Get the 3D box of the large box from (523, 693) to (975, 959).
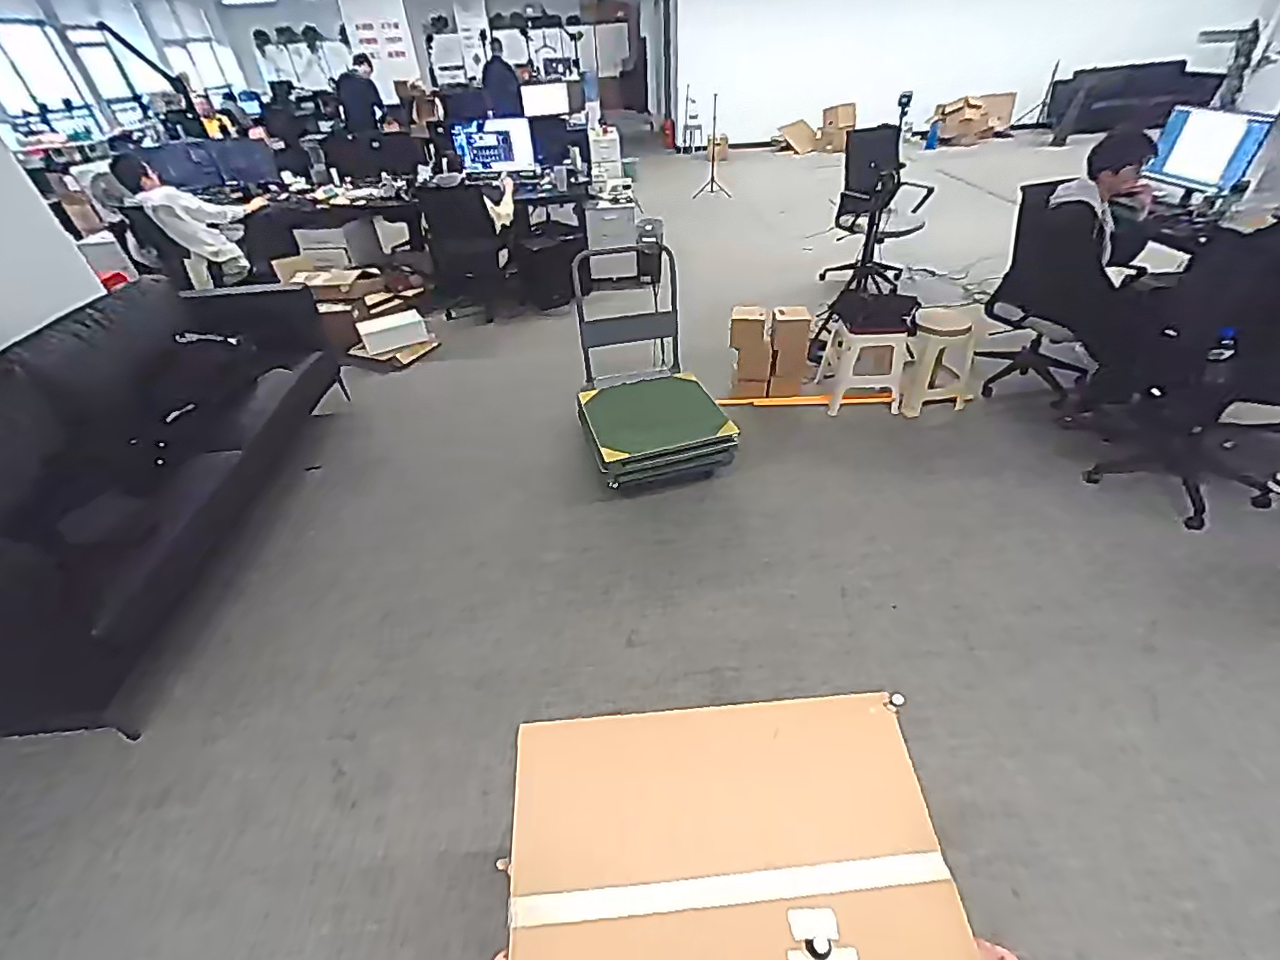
[{"bbox_3d":[0.089,0.465,0.625,0.408,0.320,0.320,-5,56,-3],"label":"large box"}]
